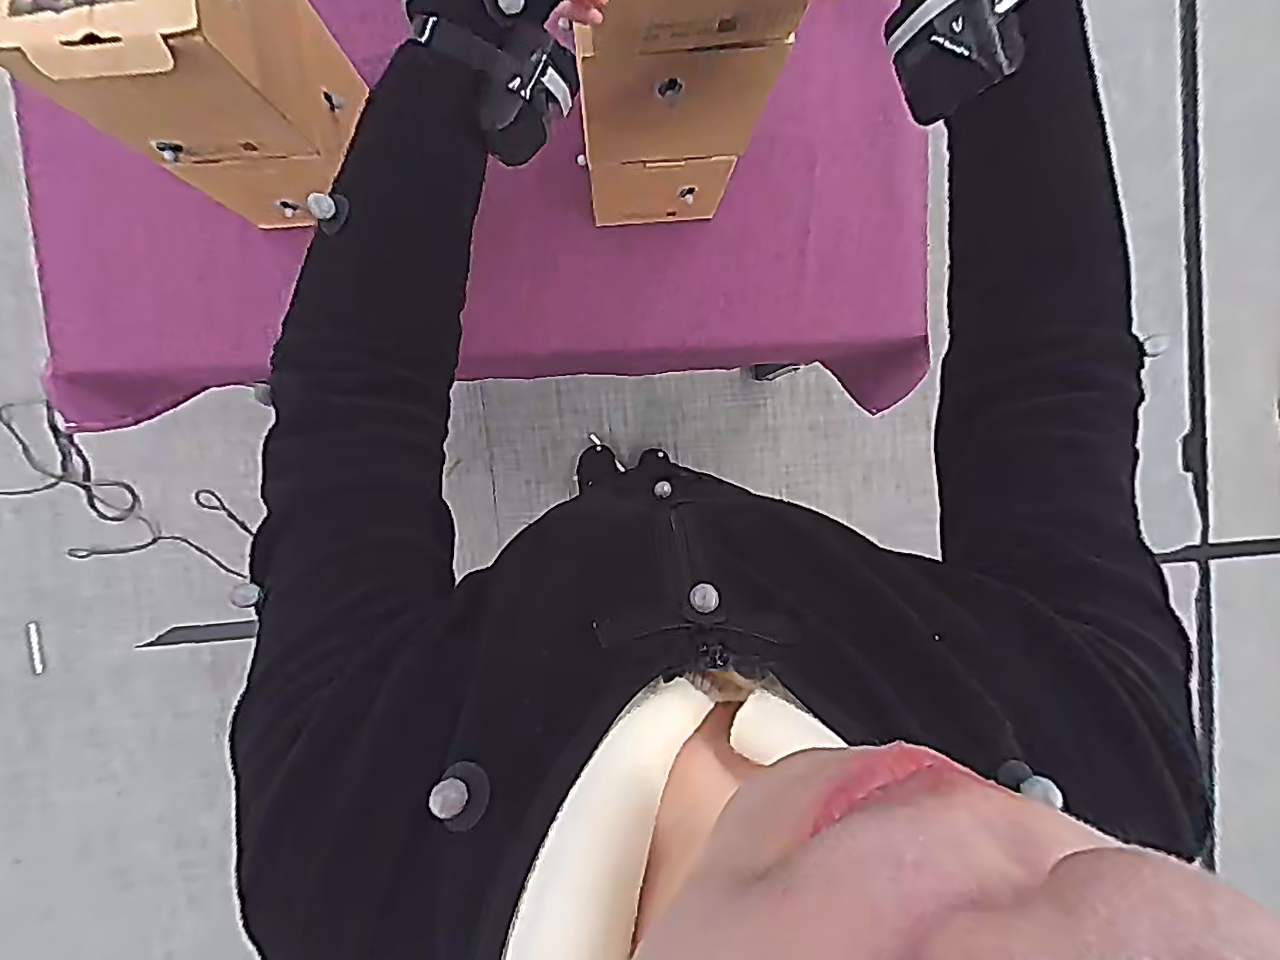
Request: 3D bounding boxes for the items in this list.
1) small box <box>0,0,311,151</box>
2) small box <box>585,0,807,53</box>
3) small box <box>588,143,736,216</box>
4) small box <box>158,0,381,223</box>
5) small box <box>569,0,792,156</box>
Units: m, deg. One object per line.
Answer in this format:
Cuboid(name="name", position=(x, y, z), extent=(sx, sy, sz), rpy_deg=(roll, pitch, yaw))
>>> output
Cuboid(name="small box", position=(-0.424, -0.420, 0.480), extent=(0.168, 0.176, 0.179), rpy_deg=(-7, 94, -3))
Cuboid(name="small box", position=(0.036, -0.420, 0.337), extent=(0.168, 0.176, 0.179), rpy_deg=(-8, 94, -3))
Cuboid(name="small box", position=(0.017, -0.441, 0.664), extent=(0.168, 0.176, 0.179), rpy_deg=(-5, 94, -3))
Cuboid(name="small box", position=(-0.432, -0.431, 0.643), extent=(0.168, 0.176, 0.179), rpy_deg=(-5, 95, -3))
Cuboid(name="small box", position=(0.025, -0.427, 0.501), extent=(0.179, 0.176, 0.168), rpy_deg=(-6, 95, -3))
